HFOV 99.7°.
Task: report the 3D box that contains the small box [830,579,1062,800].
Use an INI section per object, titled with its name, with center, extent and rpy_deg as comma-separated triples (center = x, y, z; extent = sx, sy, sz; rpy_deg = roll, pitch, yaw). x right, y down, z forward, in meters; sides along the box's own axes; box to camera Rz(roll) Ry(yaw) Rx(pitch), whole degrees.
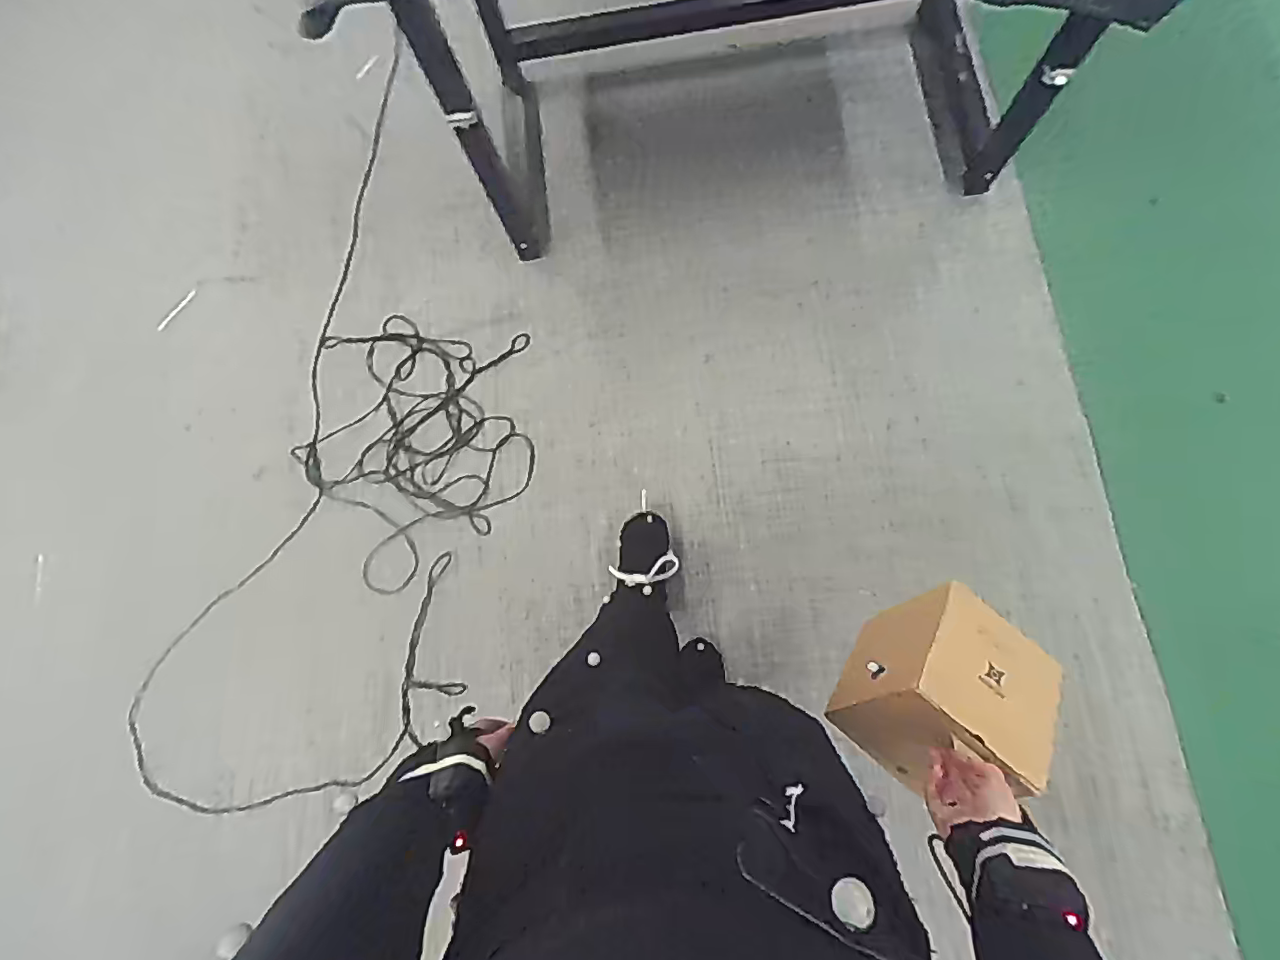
[small box]
center = 0.363, 0.261, 0.661
extent = 0.168, 0.176, 0.179
rpy_deg = 42, 51, 5
